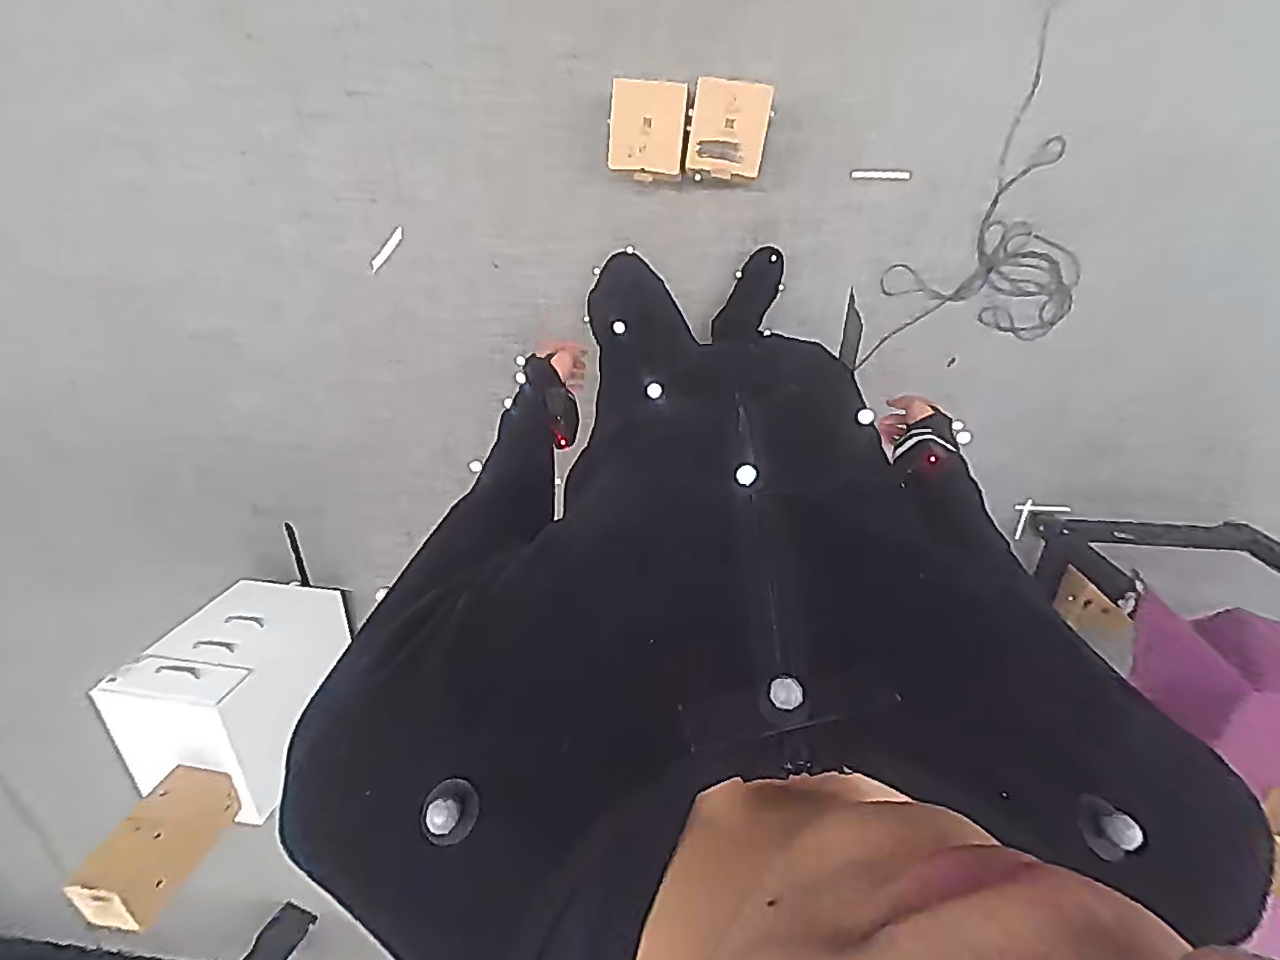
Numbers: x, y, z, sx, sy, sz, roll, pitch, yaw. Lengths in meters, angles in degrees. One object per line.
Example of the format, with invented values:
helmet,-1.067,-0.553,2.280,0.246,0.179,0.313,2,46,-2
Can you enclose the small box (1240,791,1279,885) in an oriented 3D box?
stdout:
small box,1.297,0.697,0.989,0.179,0.176,0.168,3,114,6

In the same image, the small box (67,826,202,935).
small box,-1.334,1.061,1.441,0.168,0.176,0.179,3,116,8

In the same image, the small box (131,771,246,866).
small box,-1.314,0.988,1.587,0.179,0.176,0.168,6,115,5
